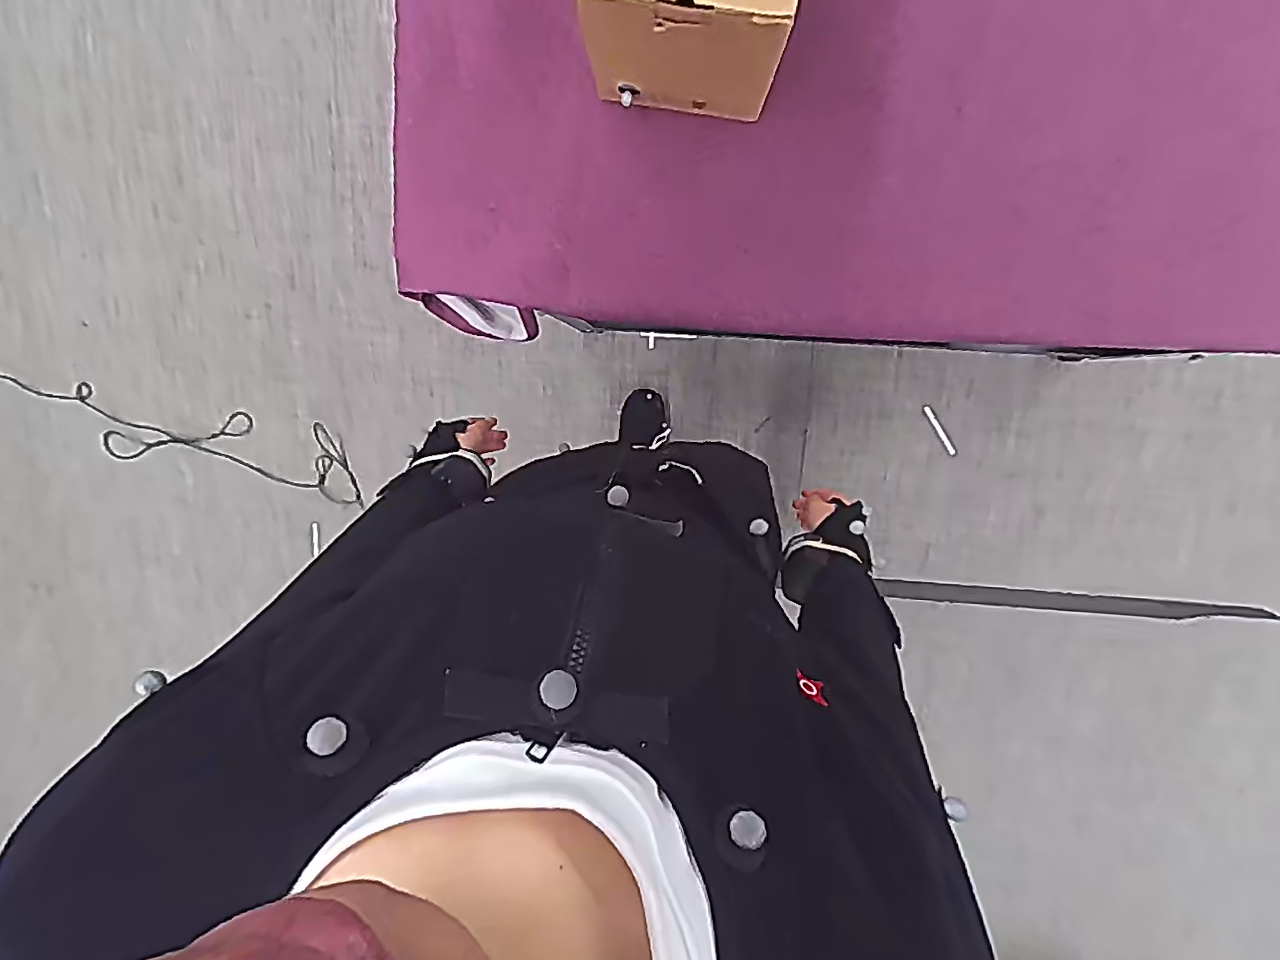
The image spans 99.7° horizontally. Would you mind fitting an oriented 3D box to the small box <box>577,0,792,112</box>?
[{"bbox_3d":[0.048,-0.452,0.461,0.168,0.176,0.179,9,101,0],"label":"small box"}]
